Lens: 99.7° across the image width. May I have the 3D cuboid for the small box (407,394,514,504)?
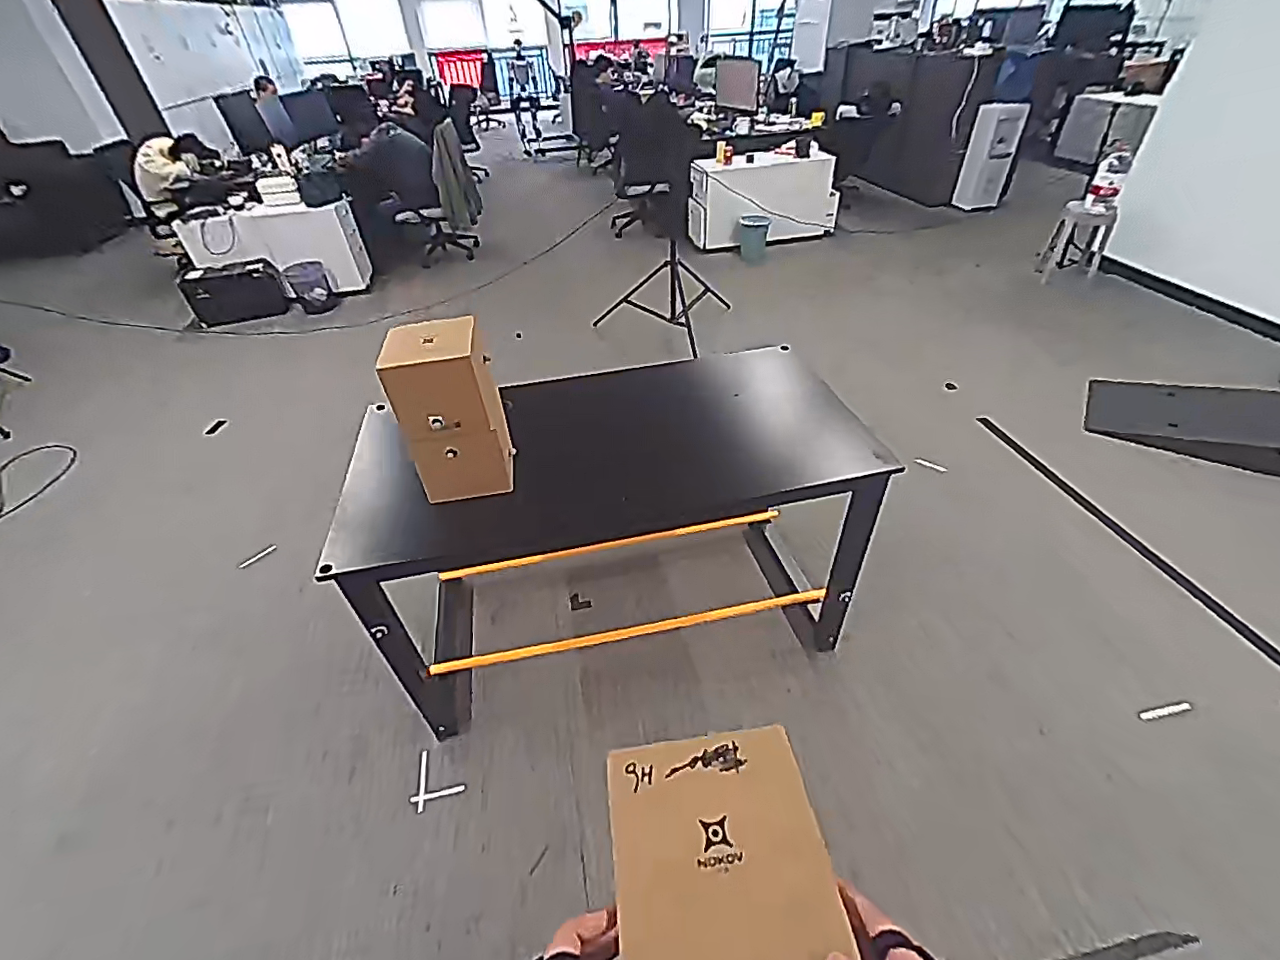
[{"bbox_3d":[-0.379,-0.065,1.171,0.179,0.176,0.168,-8,40,-7],"label":"small box"}]

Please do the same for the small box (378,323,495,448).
[{"bbox_3d":[-0.388,-0.187,1.065,0.168,0.176,0.179,-11,42,-6],"label":"small box"}]

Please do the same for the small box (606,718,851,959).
[{"bbox_3d":[0.065,0.347,0.484,0.168,0.176,0.179,-8,40,-3],"label":"small box"}]
